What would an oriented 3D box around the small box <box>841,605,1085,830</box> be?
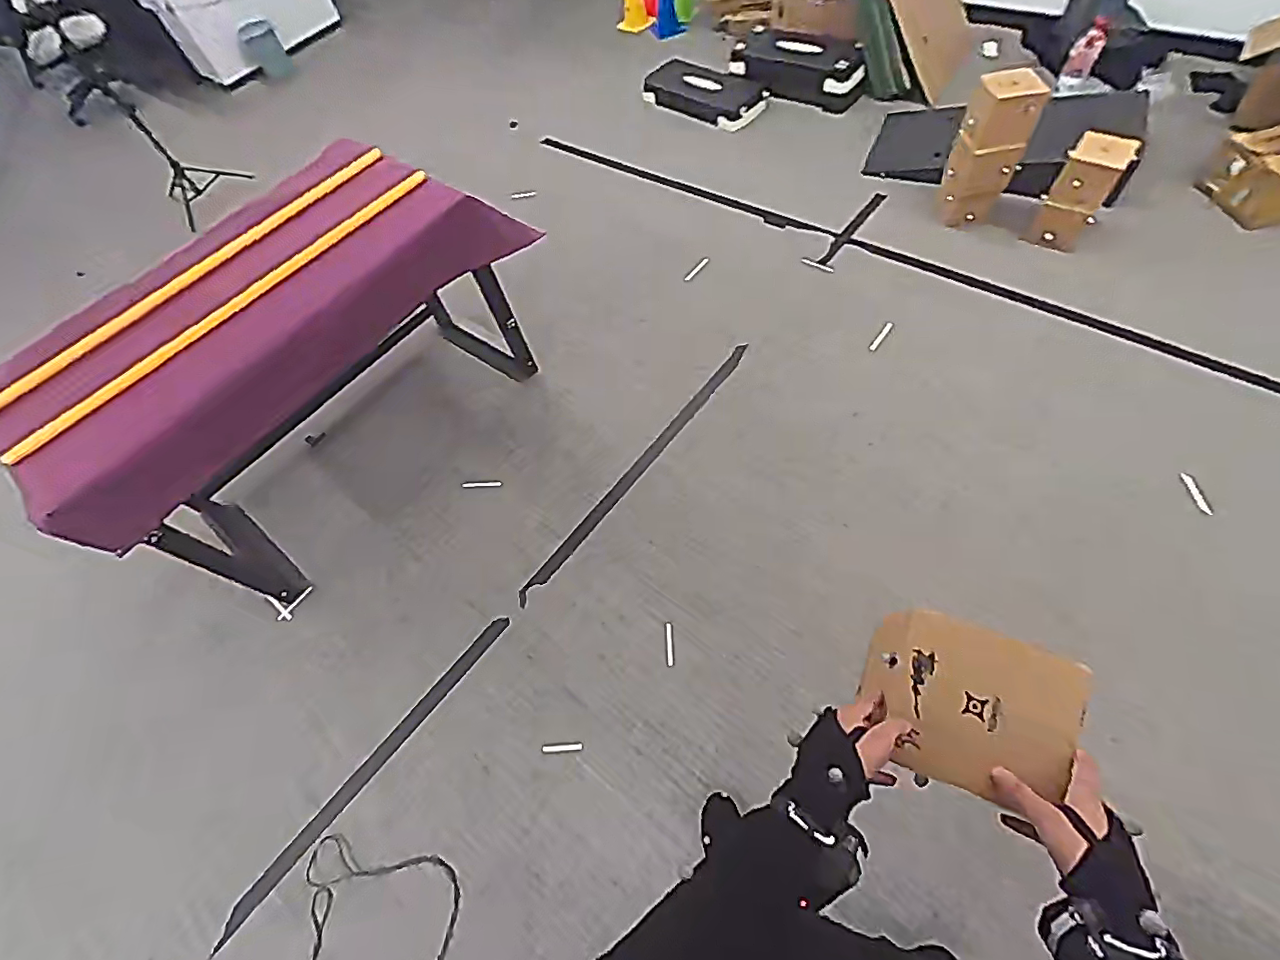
[{"bbox_3d":[0.355,0.257,0.625,0.179,0.176,0.168,19,75,15],"label":"small box"}]
